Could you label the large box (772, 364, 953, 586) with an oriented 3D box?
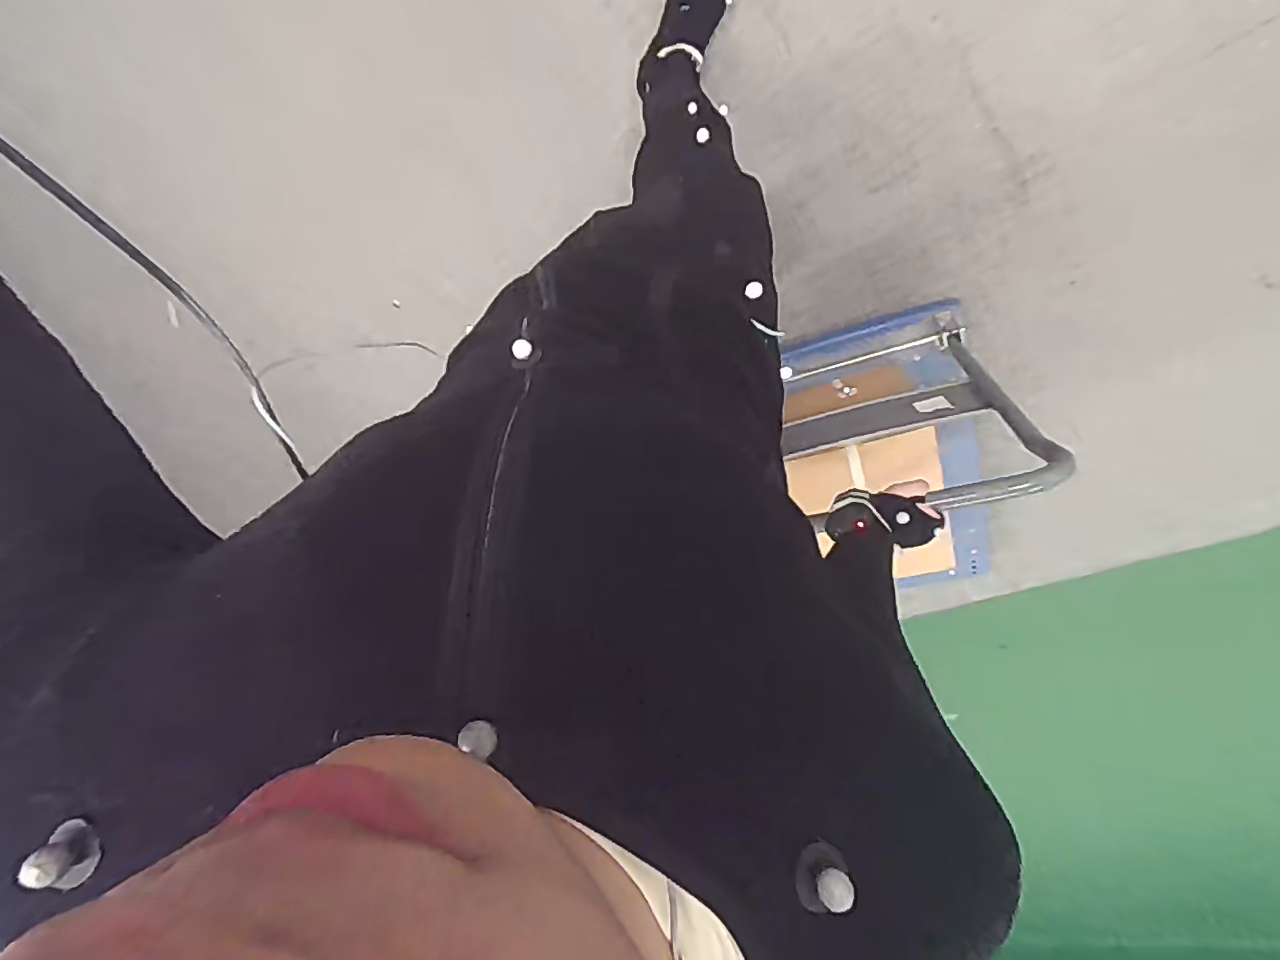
[{"bbox_3d":[0.536,-0.010,1.335,0.320,0.320,0.408,-14,121,21],"label":"large box"}]
